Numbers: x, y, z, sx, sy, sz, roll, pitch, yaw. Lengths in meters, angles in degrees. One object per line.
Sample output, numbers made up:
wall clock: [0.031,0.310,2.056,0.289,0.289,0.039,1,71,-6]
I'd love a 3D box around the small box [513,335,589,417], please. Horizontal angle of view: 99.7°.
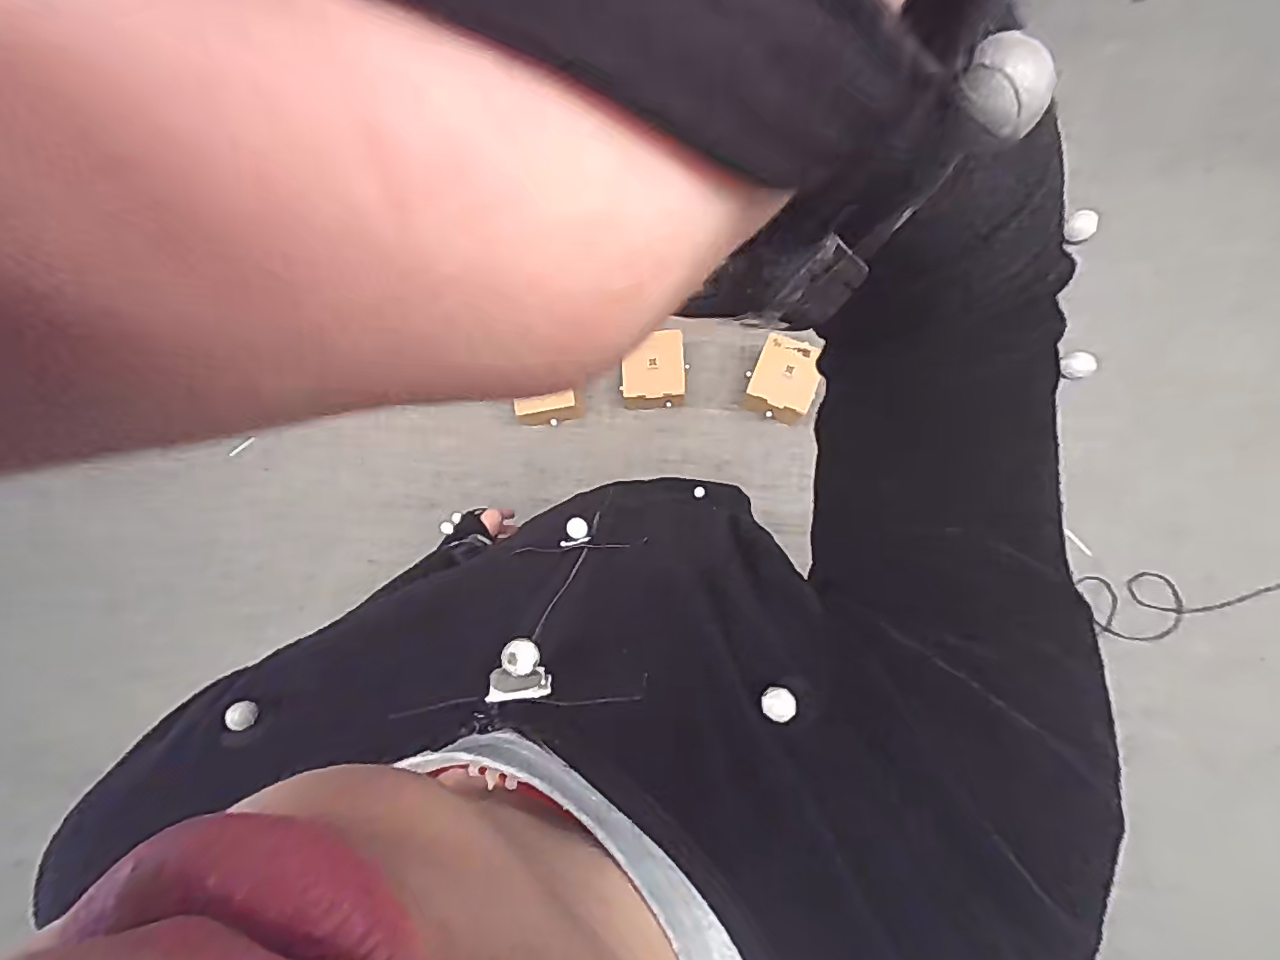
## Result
small box: [-0.246,-0.286,1.524,0.168,0.176,0.179,-9,86,5]

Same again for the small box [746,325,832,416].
small box: [0.395,-0.288,1.468,0.168,0.176,0.179,22,89,7]

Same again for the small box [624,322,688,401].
small box: [0.049,-0.321,1.504,0.168,0.176,0.179,-3,85,4]
